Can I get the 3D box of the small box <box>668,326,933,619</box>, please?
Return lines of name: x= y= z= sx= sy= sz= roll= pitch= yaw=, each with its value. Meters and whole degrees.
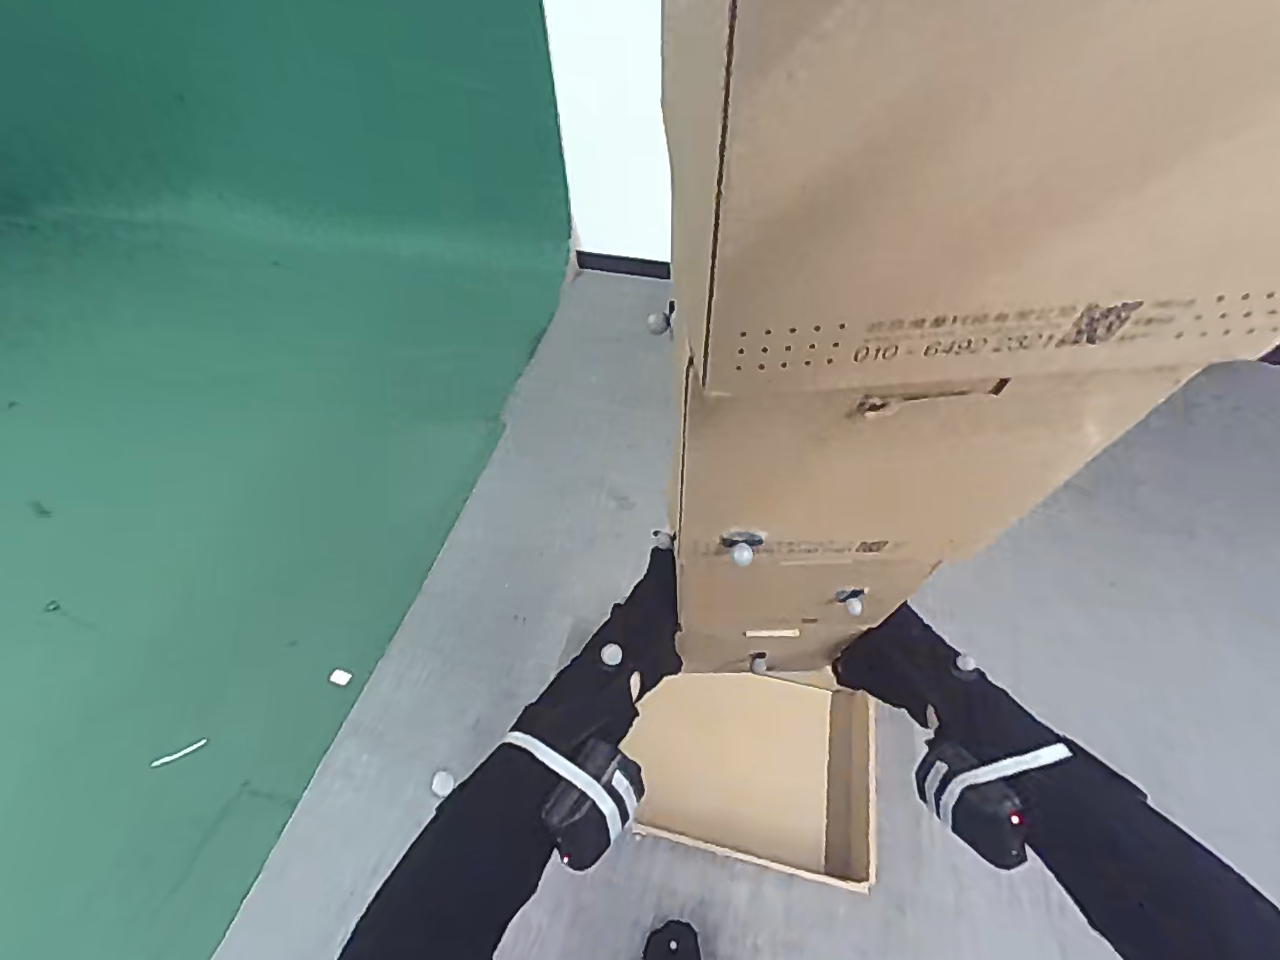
small box: x=0.108 y=-0.001 z=0.405 sx=0.168 sy=0.176 sz=0.179 roll=-3 pitch=59 yaw=2

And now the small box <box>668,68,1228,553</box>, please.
small box: x=0.099 y=-0.070 z=0.276 sx=0.168 sy=0.176 sz=0.179 roll=-1 pitch=58 yaw=2

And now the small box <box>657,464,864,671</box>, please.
small box: x=0.109 y=0.093 z=0.562 sx=0.168 sy=0.176 sz=0.179 roll=-5 pitch=58 yaw=1
